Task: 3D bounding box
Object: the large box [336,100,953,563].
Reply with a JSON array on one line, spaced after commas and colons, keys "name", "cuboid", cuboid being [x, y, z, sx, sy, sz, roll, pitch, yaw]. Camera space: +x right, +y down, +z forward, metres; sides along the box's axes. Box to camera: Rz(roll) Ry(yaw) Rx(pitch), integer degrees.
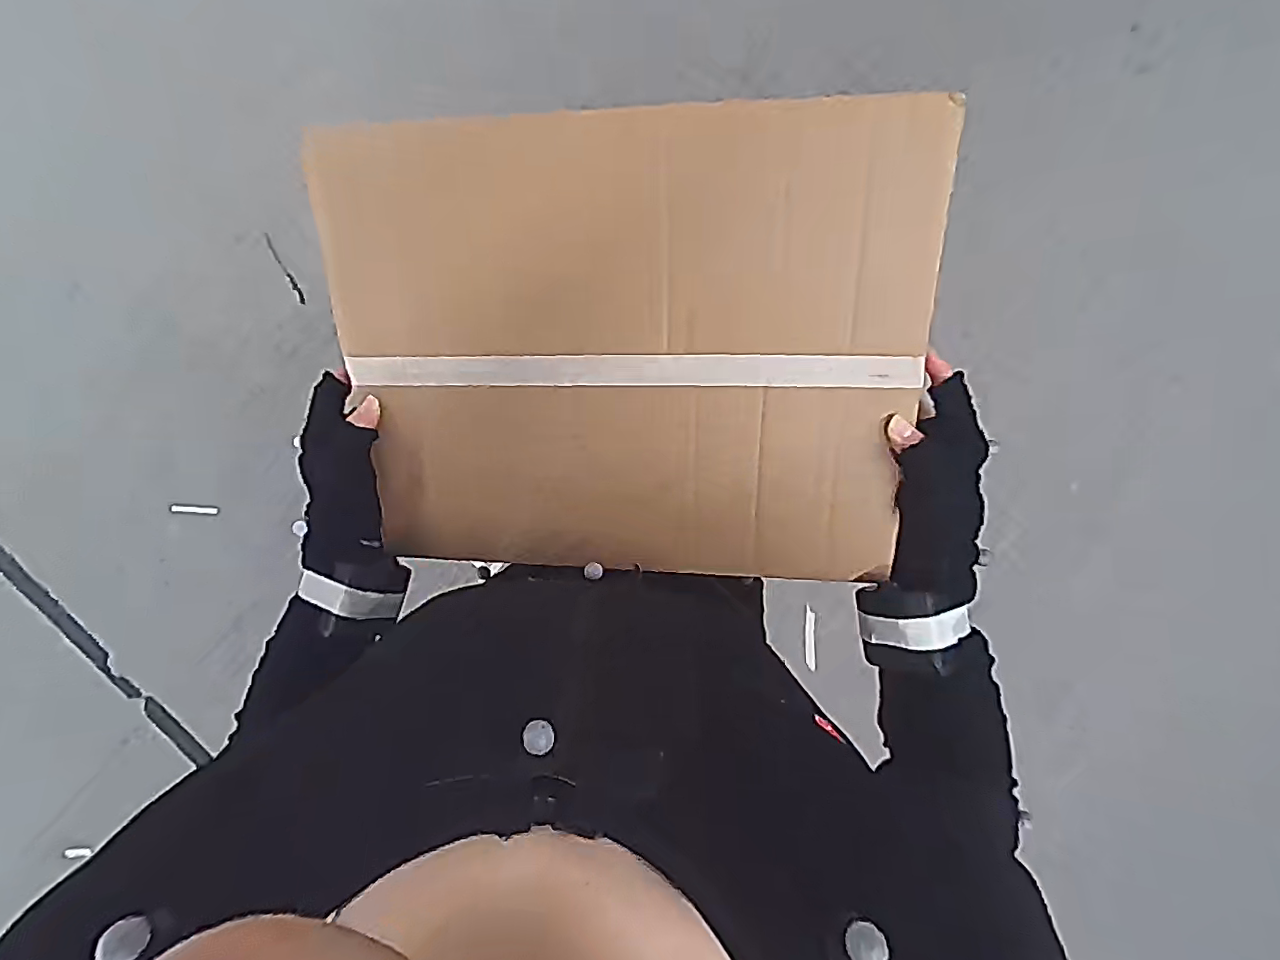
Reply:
[{"name": "large box", "cuboid": [0.009, -0.132, 0.530, 0.408, 0.320, 0.320, 2, 111, 7]}]
